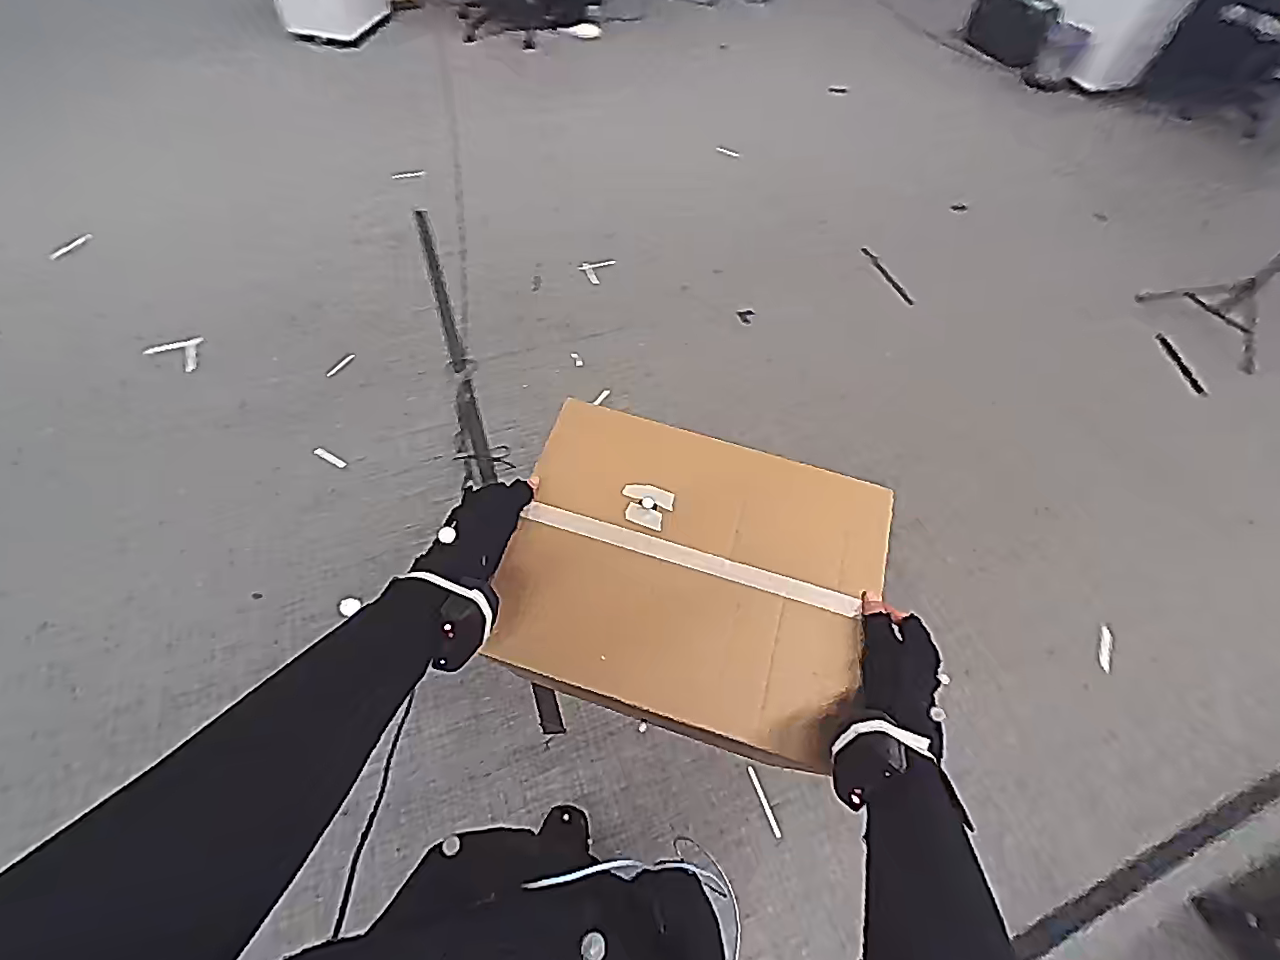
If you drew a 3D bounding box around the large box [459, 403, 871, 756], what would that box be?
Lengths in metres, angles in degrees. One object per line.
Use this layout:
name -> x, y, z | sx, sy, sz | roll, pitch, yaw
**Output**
large box -> 0.043, 0.146, 0.732 | 0.408, 0.320, 0.320 | 16, 65, 6
